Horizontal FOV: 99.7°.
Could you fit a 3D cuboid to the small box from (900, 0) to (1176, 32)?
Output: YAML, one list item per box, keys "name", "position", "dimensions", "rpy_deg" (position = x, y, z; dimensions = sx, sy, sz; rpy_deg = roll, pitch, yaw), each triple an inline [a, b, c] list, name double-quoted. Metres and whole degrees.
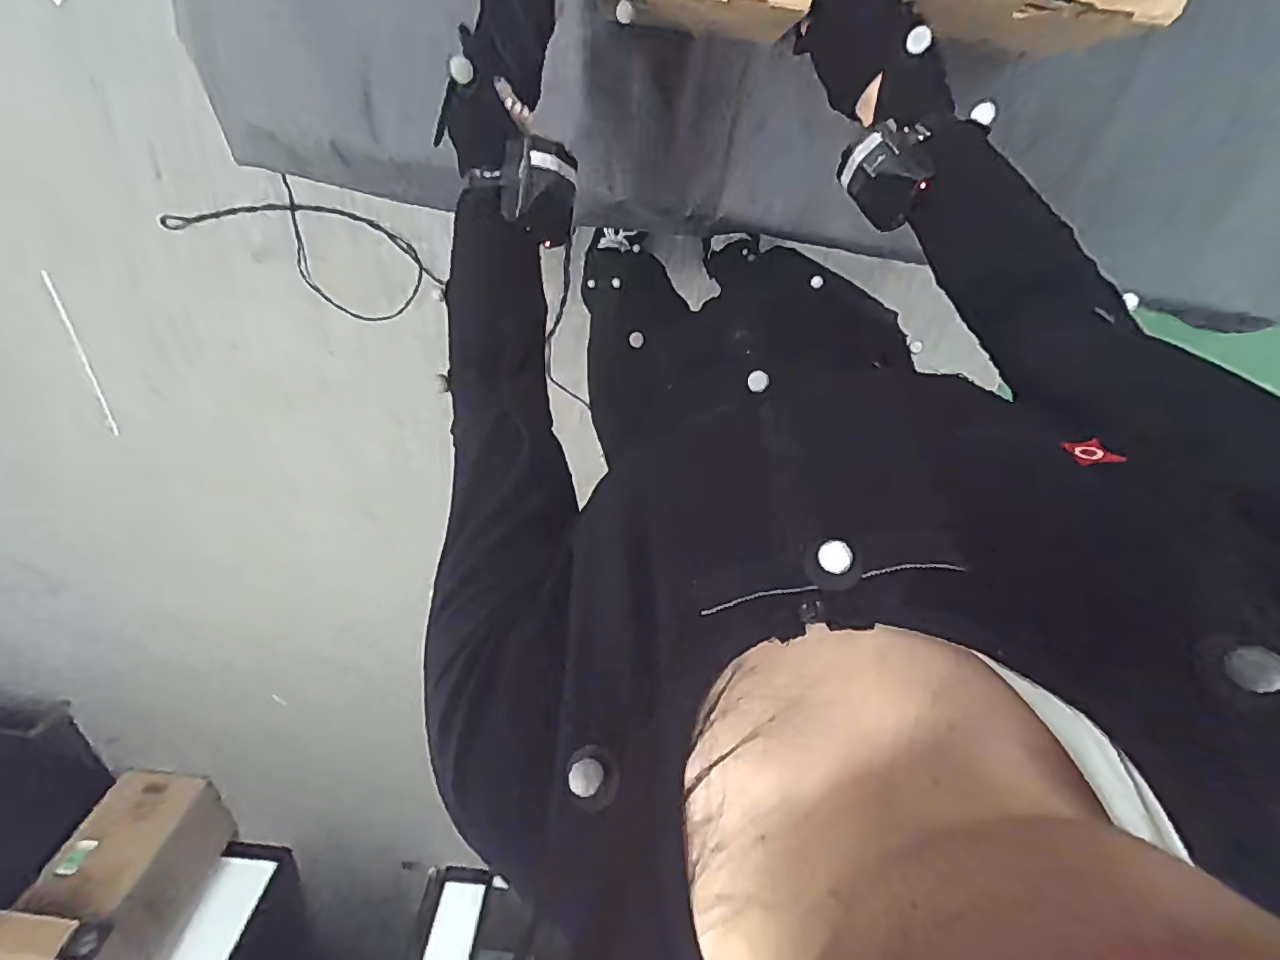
- name: "small box"
  position: [0.306, -0.452, 0.390]
  dimensions: [0.168, 0.176, 0.179]
  rpy_deg: [7, 123, -2]
